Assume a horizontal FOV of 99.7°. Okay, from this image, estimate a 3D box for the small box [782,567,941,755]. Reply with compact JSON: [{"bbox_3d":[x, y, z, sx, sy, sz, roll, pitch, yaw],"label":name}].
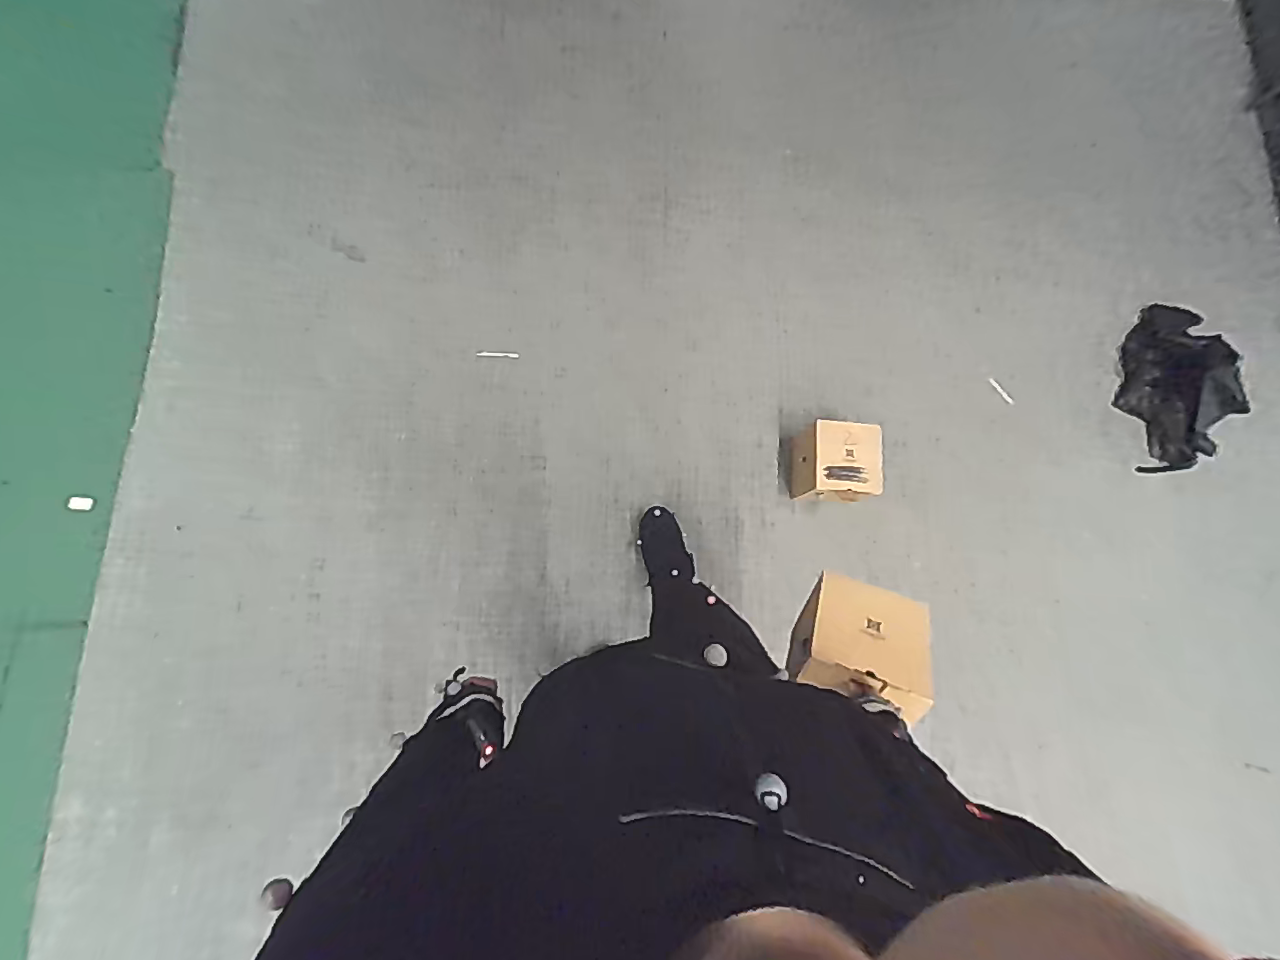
[{"bbox_3d":[0.326,0.270,0.813,0.168,0.176,0.179,19,41,12],"label":"small box"}]
